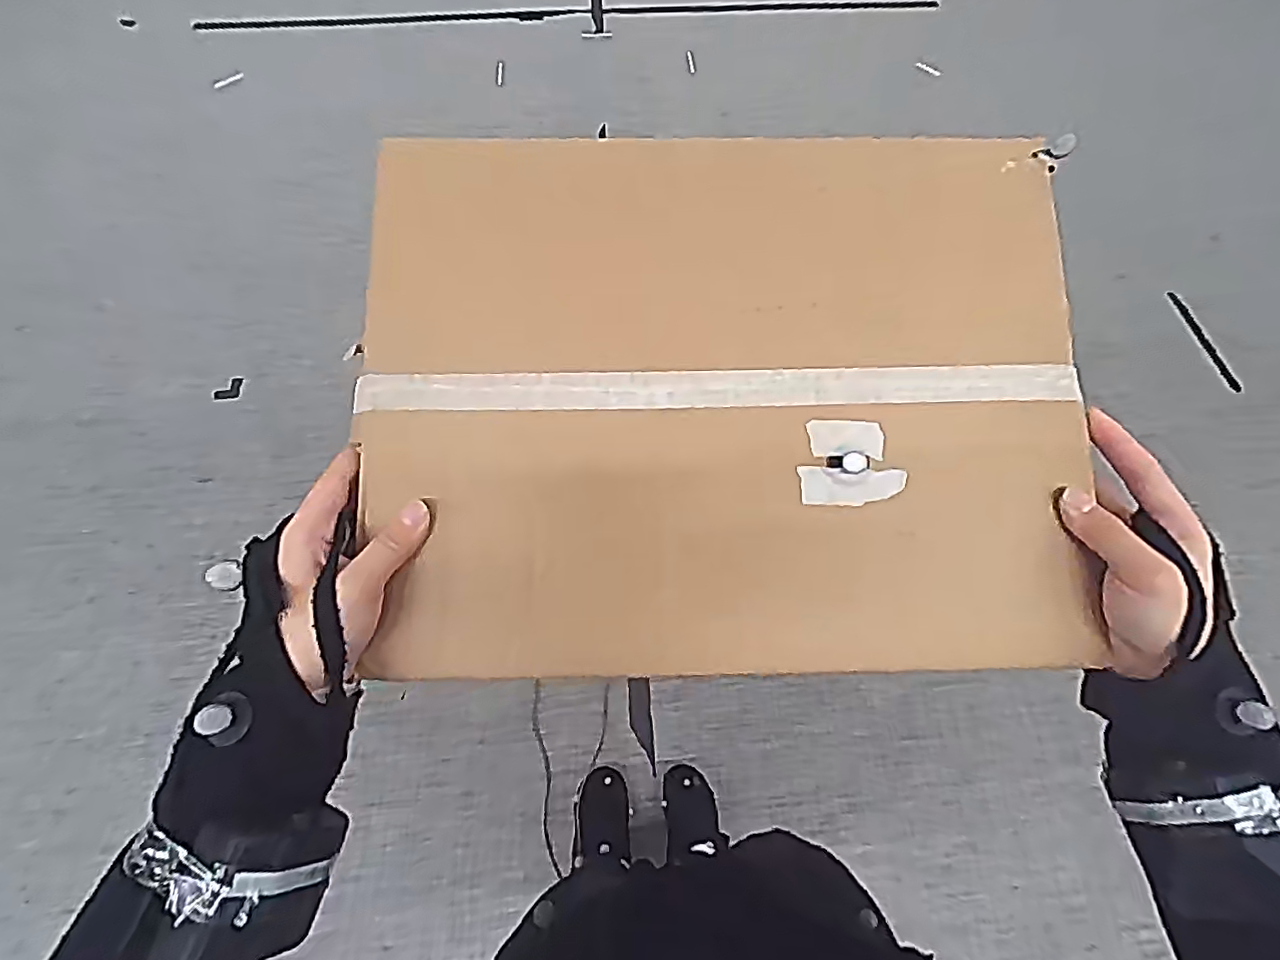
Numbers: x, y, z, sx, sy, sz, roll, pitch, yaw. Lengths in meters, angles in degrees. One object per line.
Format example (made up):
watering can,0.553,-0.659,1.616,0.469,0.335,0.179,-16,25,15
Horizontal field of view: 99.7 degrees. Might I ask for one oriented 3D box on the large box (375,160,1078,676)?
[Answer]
large box,0.043,-0.029,0.469,0.408,0.320,0.320,-1,83,-1
